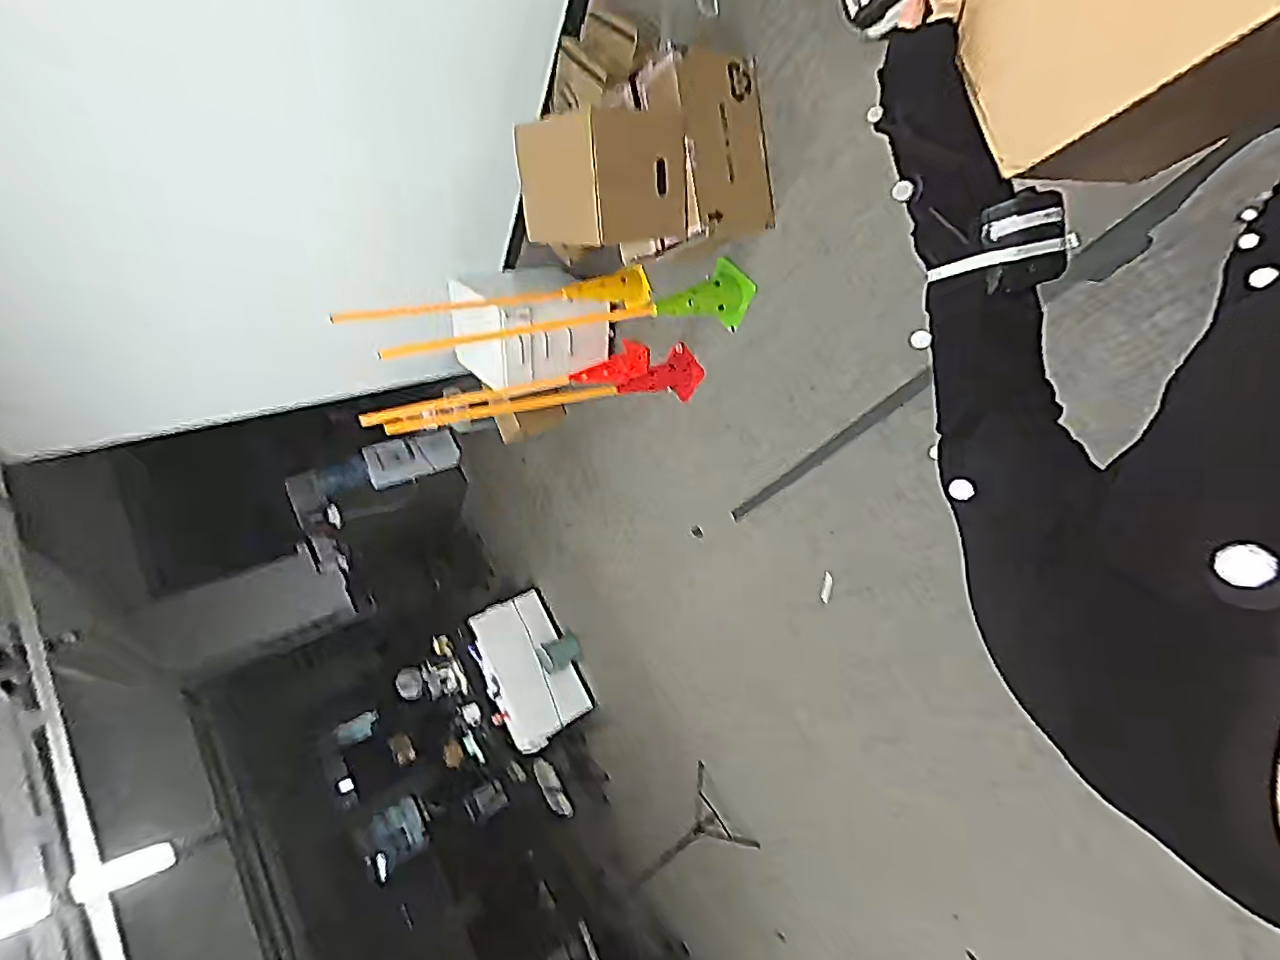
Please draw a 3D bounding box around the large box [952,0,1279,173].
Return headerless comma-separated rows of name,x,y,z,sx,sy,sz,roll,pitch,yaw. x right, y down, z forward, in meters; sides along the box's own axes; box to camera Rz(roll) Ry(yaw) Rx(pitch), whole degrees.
large box,0.437,-0.455,0.312,0.408,0.320,0.320,-20,89,57
